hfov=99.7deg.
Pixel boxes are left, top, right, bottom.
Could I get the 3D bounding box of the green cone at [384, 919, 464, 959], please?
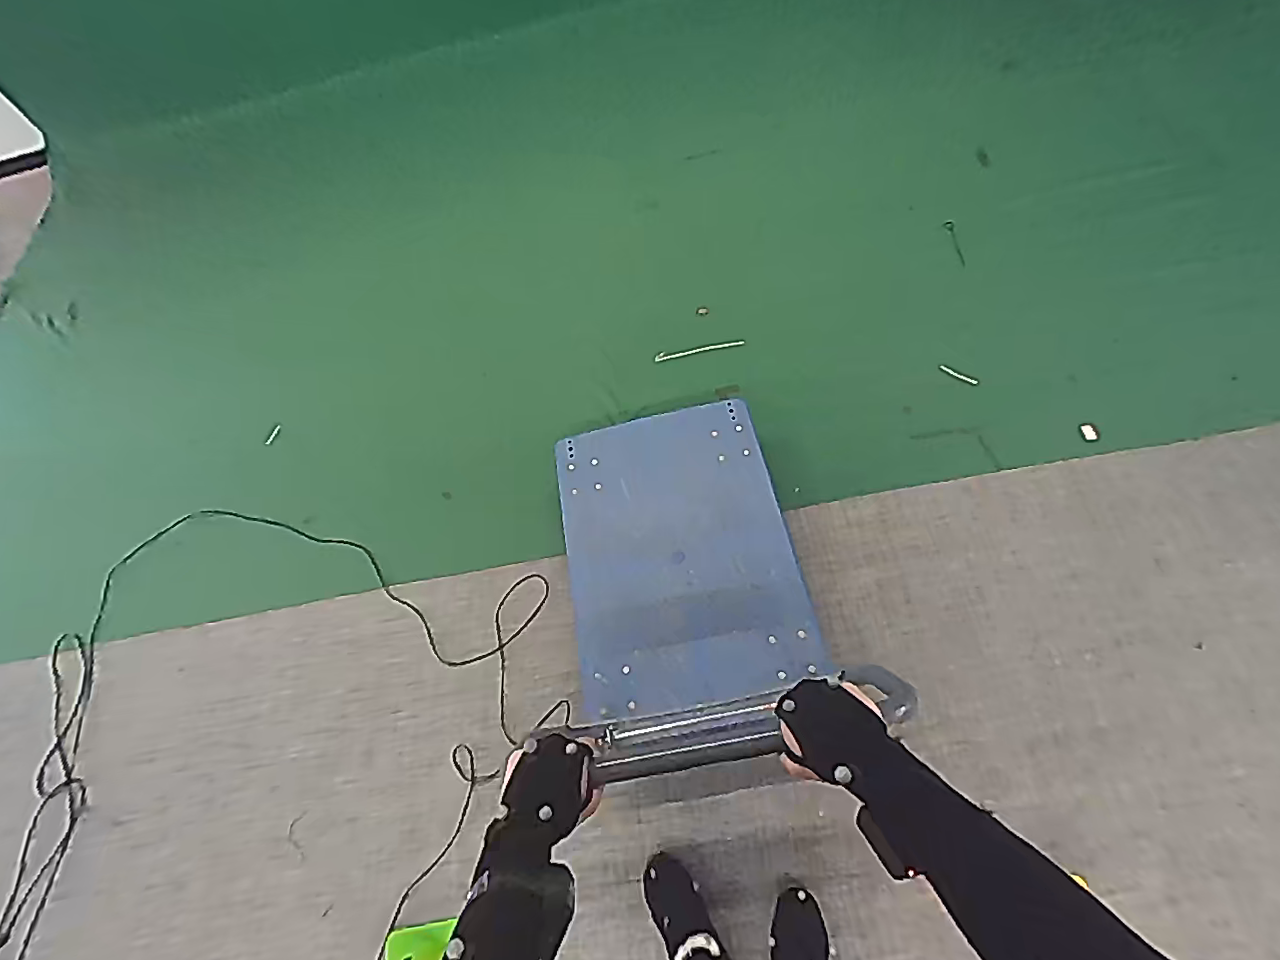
[{"bbox_3d":[-0.524,1.061,1.078,0.202,0.368,0.200,-15,62,5],"label":"green cone"}]
